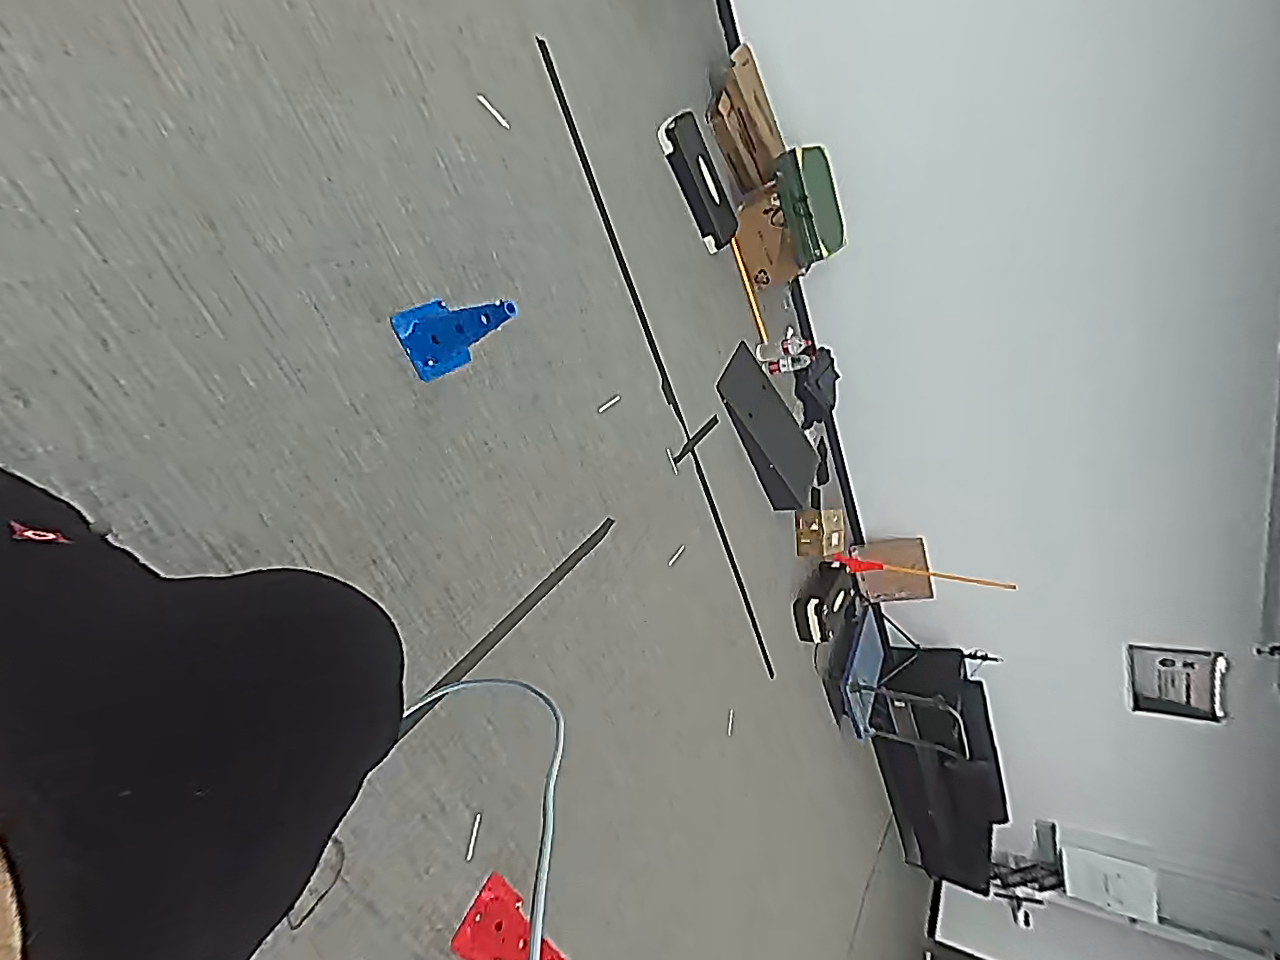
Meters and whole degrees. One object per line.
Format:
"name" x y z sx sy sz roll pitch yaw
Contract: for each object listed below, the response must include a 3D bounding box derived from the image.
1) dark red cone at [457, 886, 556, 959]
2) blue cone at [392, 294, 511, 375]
"dark red cone" -0.296 1.323 1.481 0.202 0.394 0.201 -53 125 -41
"blue cone" -0.481 -0.428 1.476 0.193 0.380 0.192 -43 119 -46
